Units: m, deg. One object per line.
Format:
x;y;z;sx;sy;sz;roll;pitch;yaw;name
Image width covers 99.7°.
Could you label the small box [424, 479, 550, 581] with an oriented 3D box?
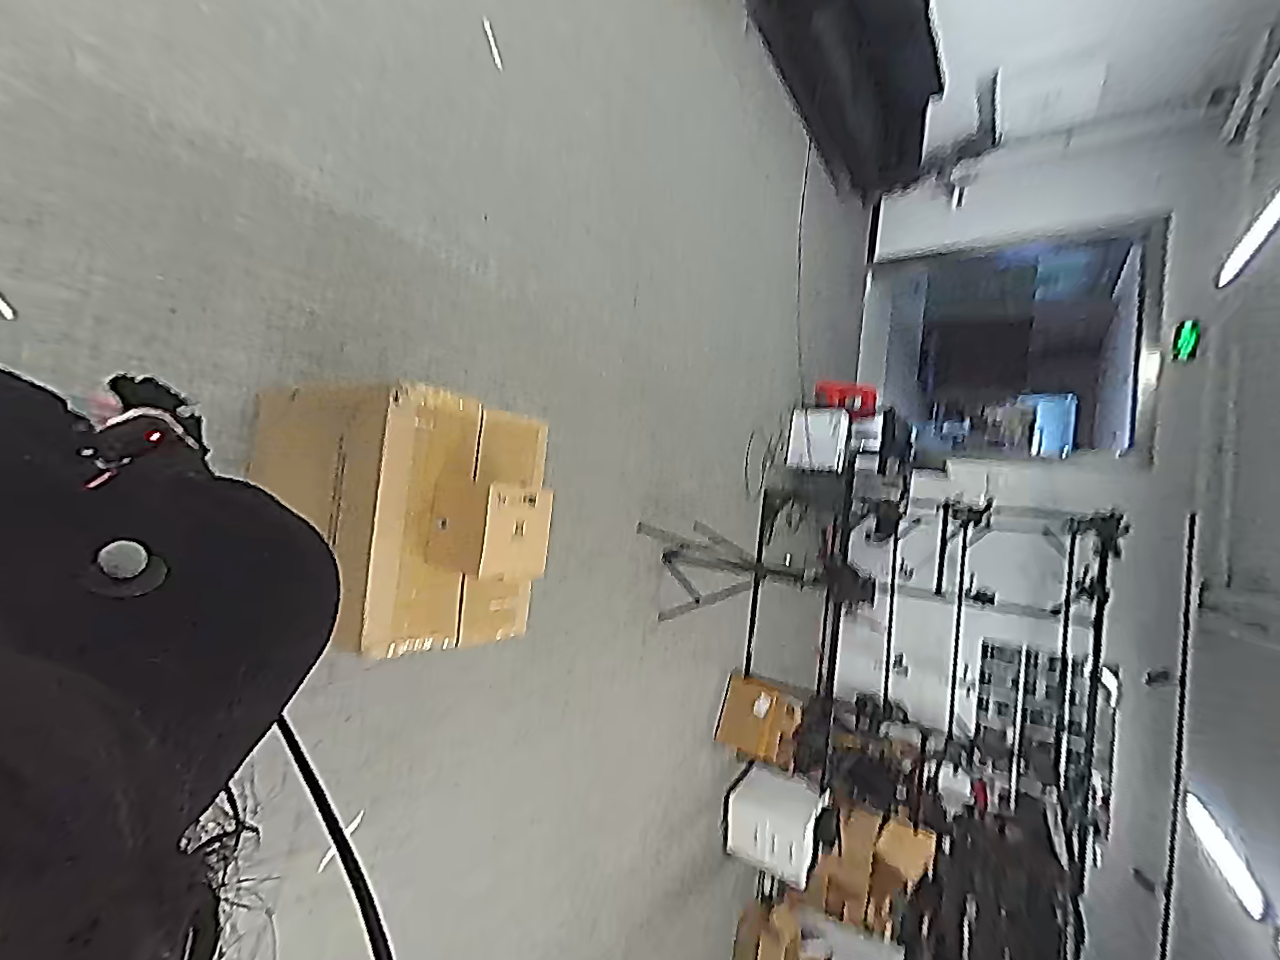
-0.308;0.099;1.084;0.168;0.176;0.179;12;85;-54;small box
